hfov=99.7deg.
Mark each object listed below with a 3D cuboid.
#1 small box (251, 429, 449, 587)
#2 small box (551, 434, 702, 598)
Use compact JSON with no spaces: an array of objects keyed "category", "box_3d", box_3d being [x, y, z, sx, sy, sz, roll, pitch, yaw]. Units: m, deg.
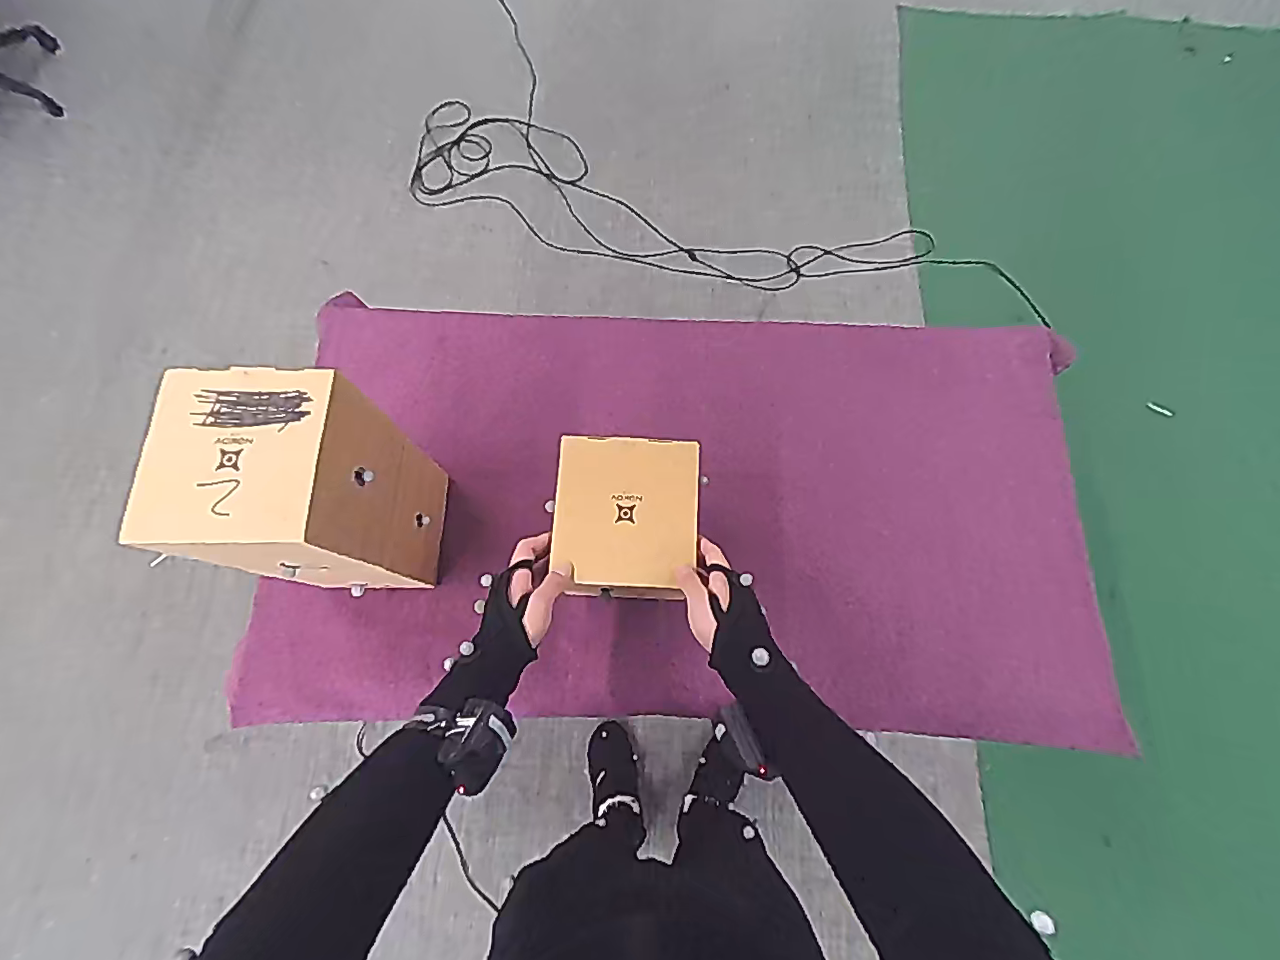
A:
[{"category":"small box","box_3d":[-0.371,0.044,0.730,0.168,0.176,0.179,1,73,0]},{"category":"small box","box_3d":[-0.012,0.055,0.694,0.168,0.176,0.179,3,72,0]}]
